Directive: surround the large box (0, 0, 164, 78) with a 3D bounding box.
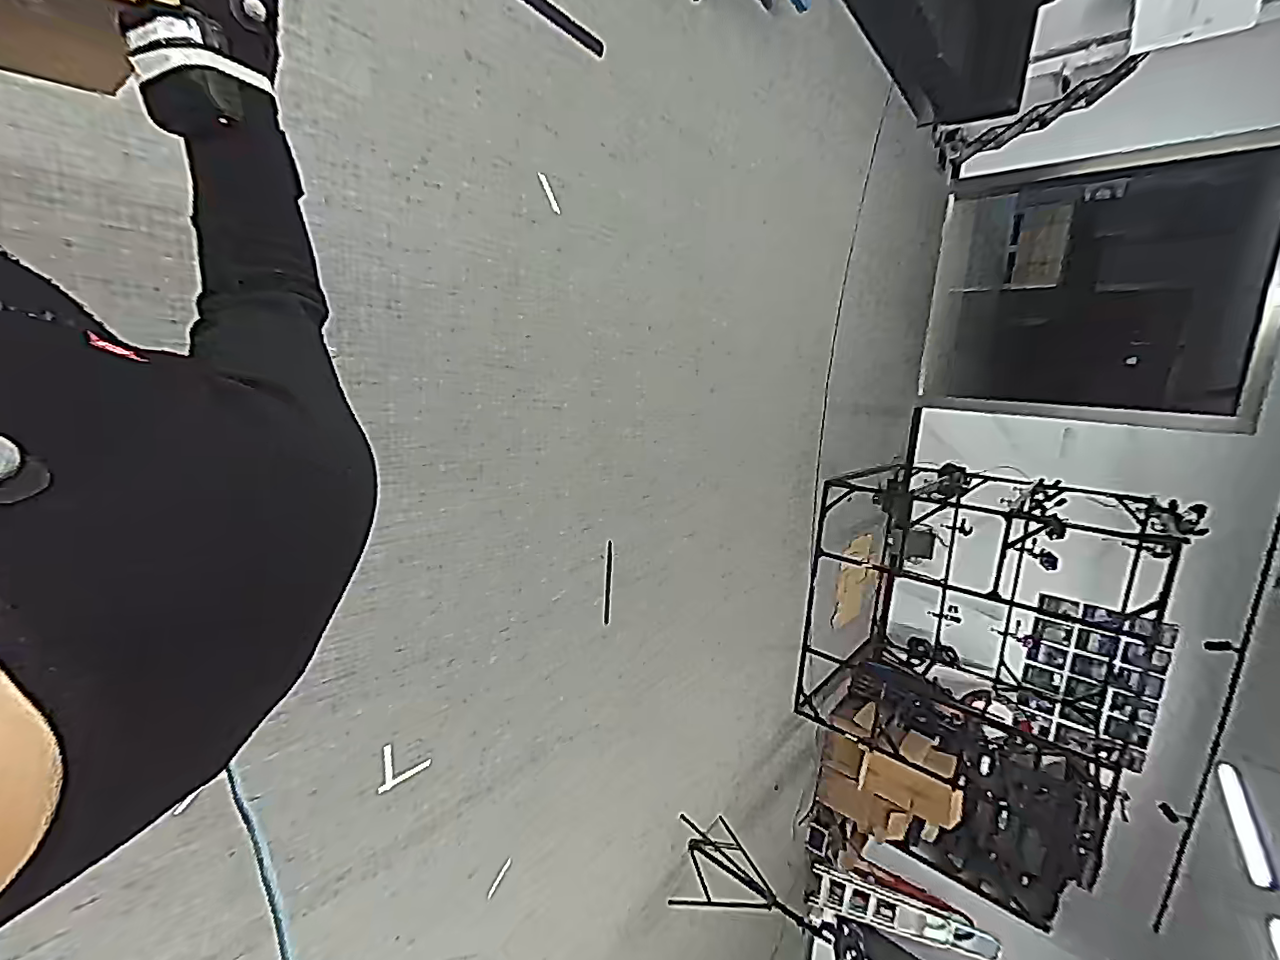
[{"bbox_3d":[-0.553,-0.470,0.269,0.408,0.320,0.320,-16,119,-47],"label":"large box"}]
